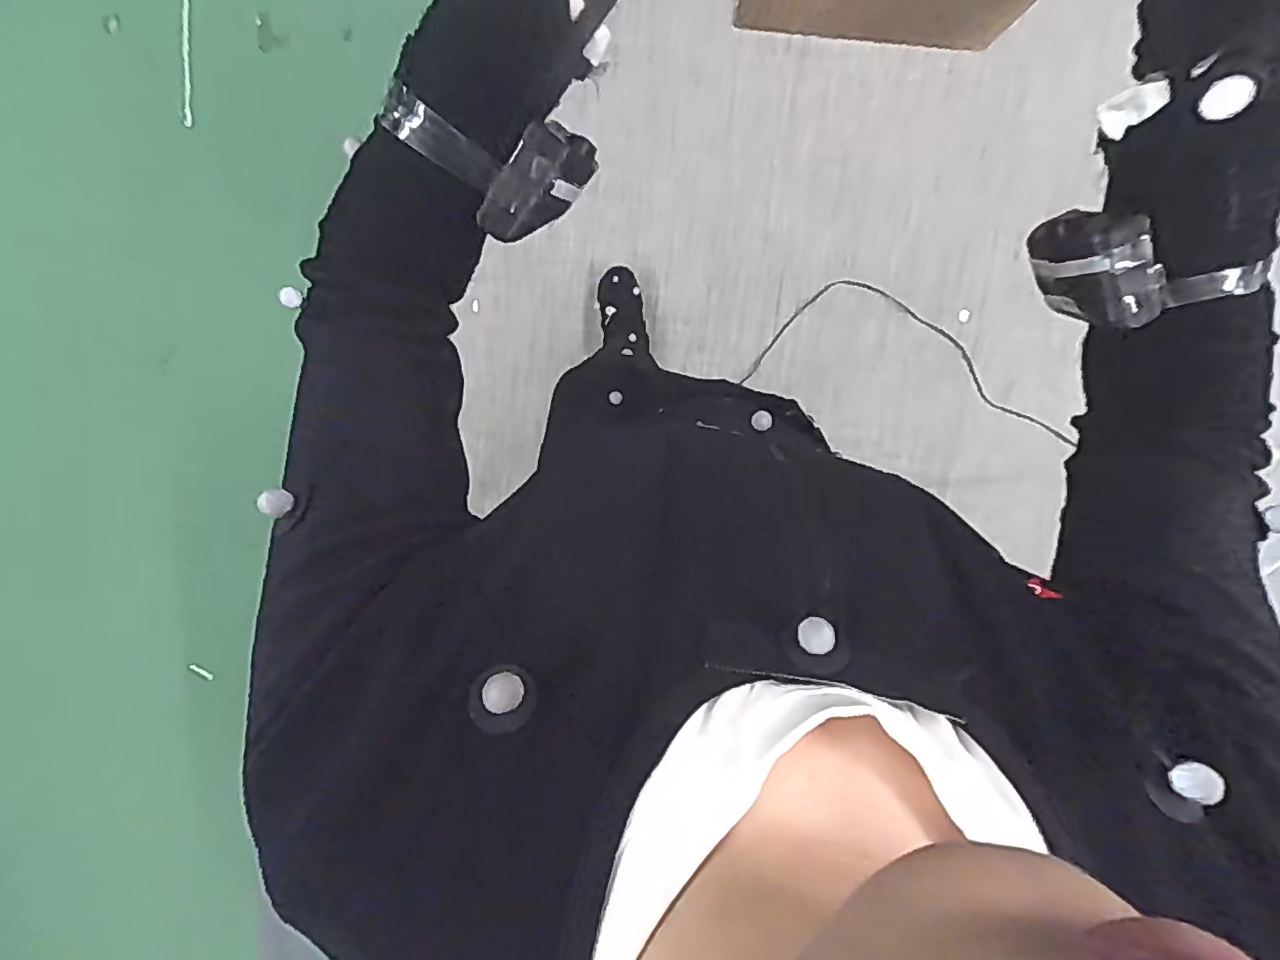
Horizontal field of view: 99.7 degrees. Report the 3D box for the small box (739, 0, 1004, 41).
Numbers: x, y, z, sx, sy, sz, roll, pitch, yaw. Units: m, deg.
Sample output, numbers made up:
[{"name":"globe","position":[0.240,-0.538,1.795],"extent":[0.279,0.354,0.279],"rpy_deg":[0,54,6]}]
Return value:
[{"name":"small box","position":[0.155,-0.368,0.276],"extent":[0.179,0.176,0.168],"rpy_deg":[4,100,-3]}]
